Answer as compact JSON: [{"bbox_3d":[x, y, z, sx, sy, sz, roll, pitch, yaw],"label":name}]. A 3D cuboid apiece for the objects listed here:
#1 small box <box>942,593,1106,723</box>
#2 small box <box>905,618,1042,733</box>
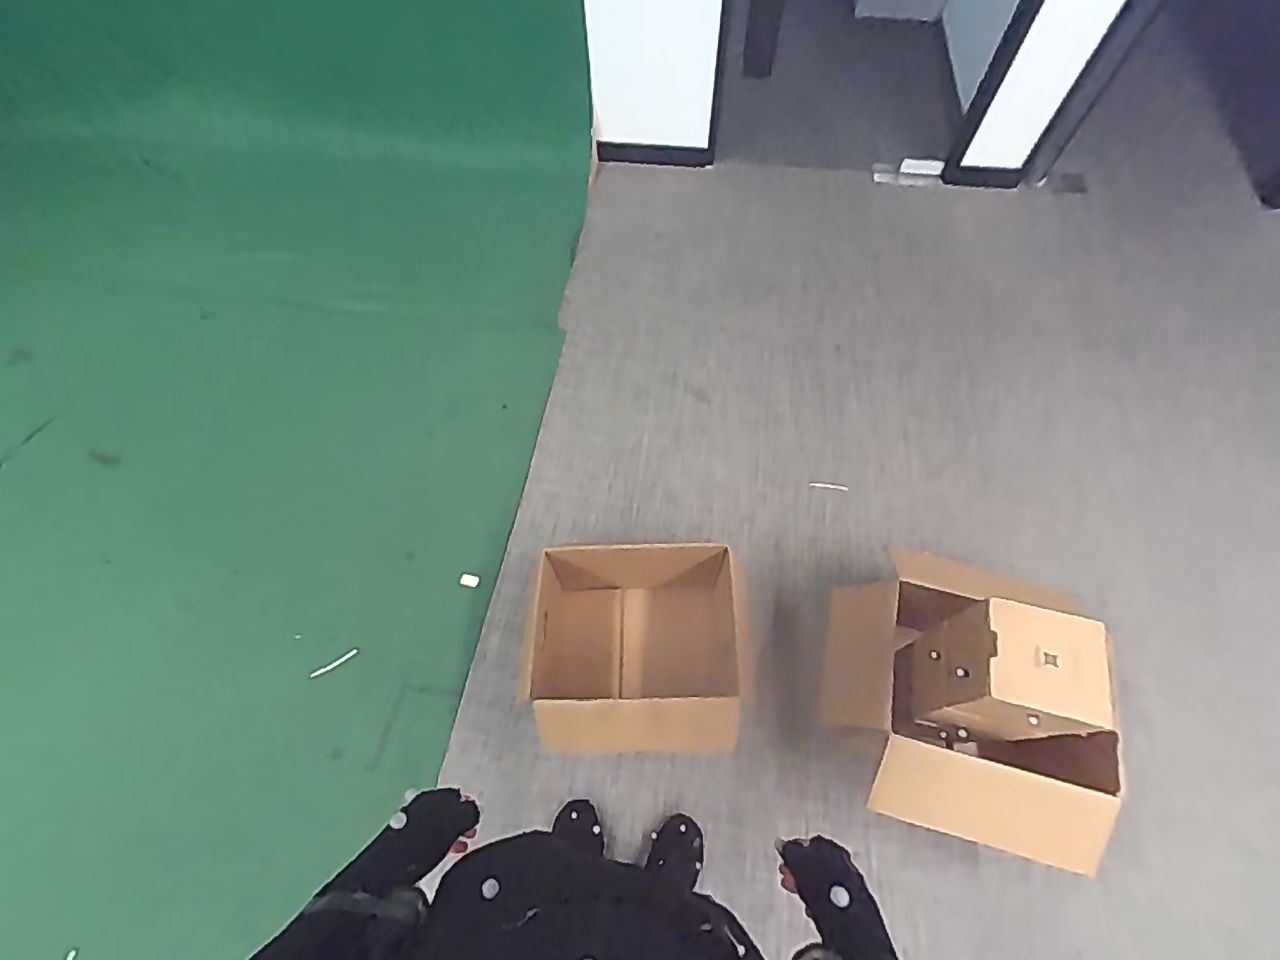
[{"bbox_3d":[0.647,0.314,0.936,0.179,0.176,0.168,12,65,9],"label":"small box"},{"bbox_3d":[0.654,0.394,1.077,0.179,0.176,0.168,12,62,9],"label":"small box"}]
